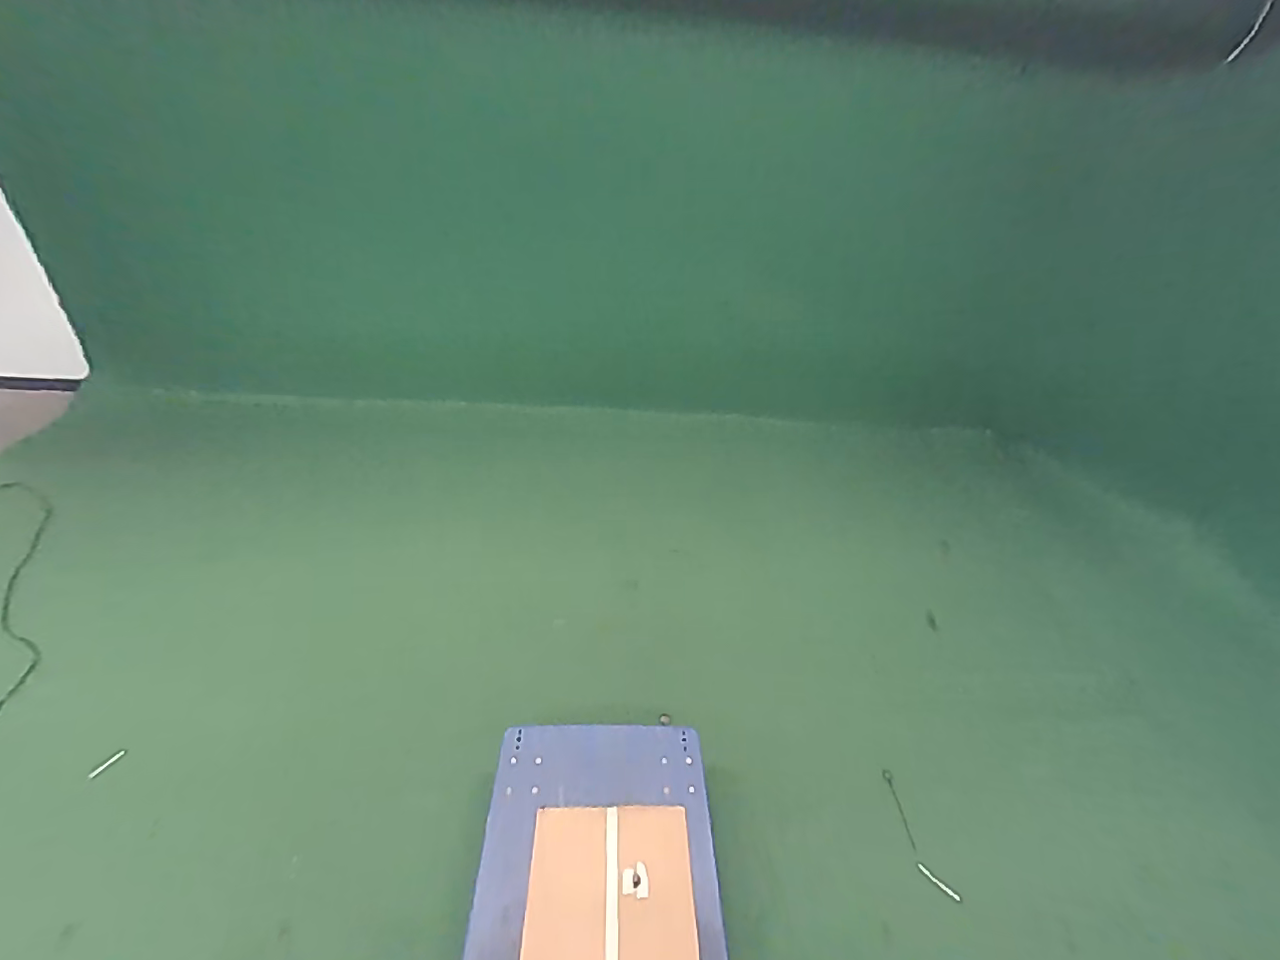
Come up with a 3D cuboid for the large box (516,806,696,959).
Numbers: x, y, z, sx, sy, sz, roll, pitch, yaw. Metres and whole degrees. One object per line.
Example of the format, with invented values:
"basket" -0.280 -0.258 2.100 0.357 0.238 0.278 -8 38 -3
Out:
"large box" -0.068 0.923 1.050 0.320 0.320 0.408 3 32 -5
